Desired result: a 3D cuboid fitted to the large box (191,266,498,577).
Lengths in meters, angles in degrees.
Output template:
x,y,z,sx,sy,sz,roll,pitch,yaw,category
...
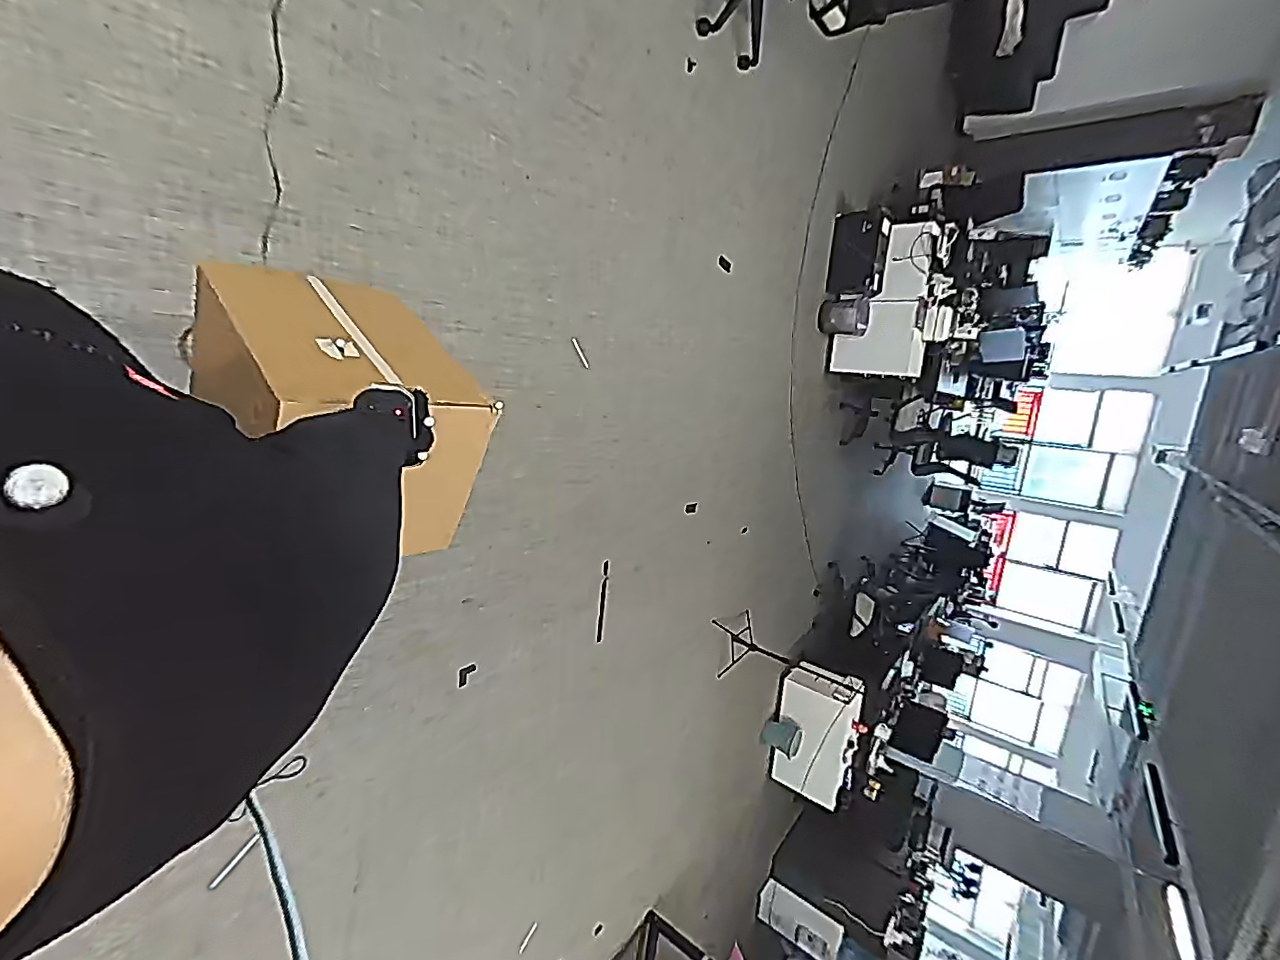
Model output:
x,y,z,sx,sy,sz,roll,pitch,yaw,category
-0.520,-0.104,0.930,0.320,0.408,0.320,-7,135,-49,large box
